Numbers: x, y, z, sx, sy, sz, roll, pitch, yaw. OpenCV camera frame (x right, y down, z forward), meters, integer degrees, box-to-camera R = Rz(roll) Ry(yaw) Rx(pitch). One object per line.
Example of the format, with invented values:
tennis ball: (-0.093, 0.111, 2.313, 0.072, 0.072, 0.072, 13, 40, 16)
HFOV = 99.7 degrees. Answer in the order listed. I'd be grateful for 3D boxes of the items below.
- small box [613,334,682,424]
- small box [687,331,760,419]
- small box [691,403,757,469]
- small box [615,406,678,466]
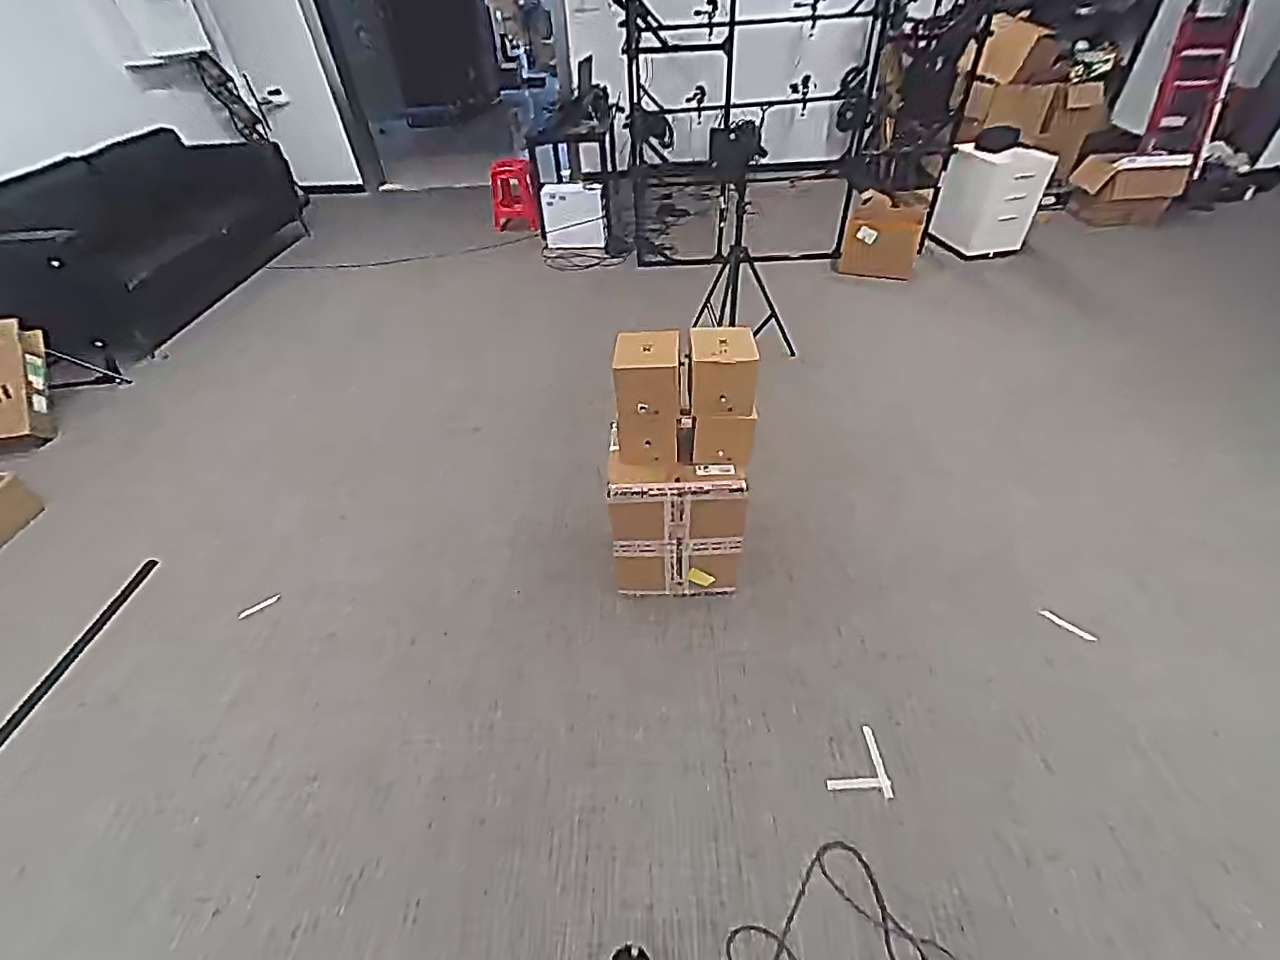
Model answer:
small box: (0.026, -0.268, 1.439, 0.168, 0.176, 0.179, -2, 45, 6)
small box: (0.215, -0.280, 1.441, 0.168, 0.176, 0.179, -1, 44, 1)
small box: (0.234, -0.153, 1.545, 0.168, 0.176, 0.179, 1, 44, 2)
small box: (0.025, -0.154, 1.557, 0.168, 0.176, 0.179, -1, 45, 5)
